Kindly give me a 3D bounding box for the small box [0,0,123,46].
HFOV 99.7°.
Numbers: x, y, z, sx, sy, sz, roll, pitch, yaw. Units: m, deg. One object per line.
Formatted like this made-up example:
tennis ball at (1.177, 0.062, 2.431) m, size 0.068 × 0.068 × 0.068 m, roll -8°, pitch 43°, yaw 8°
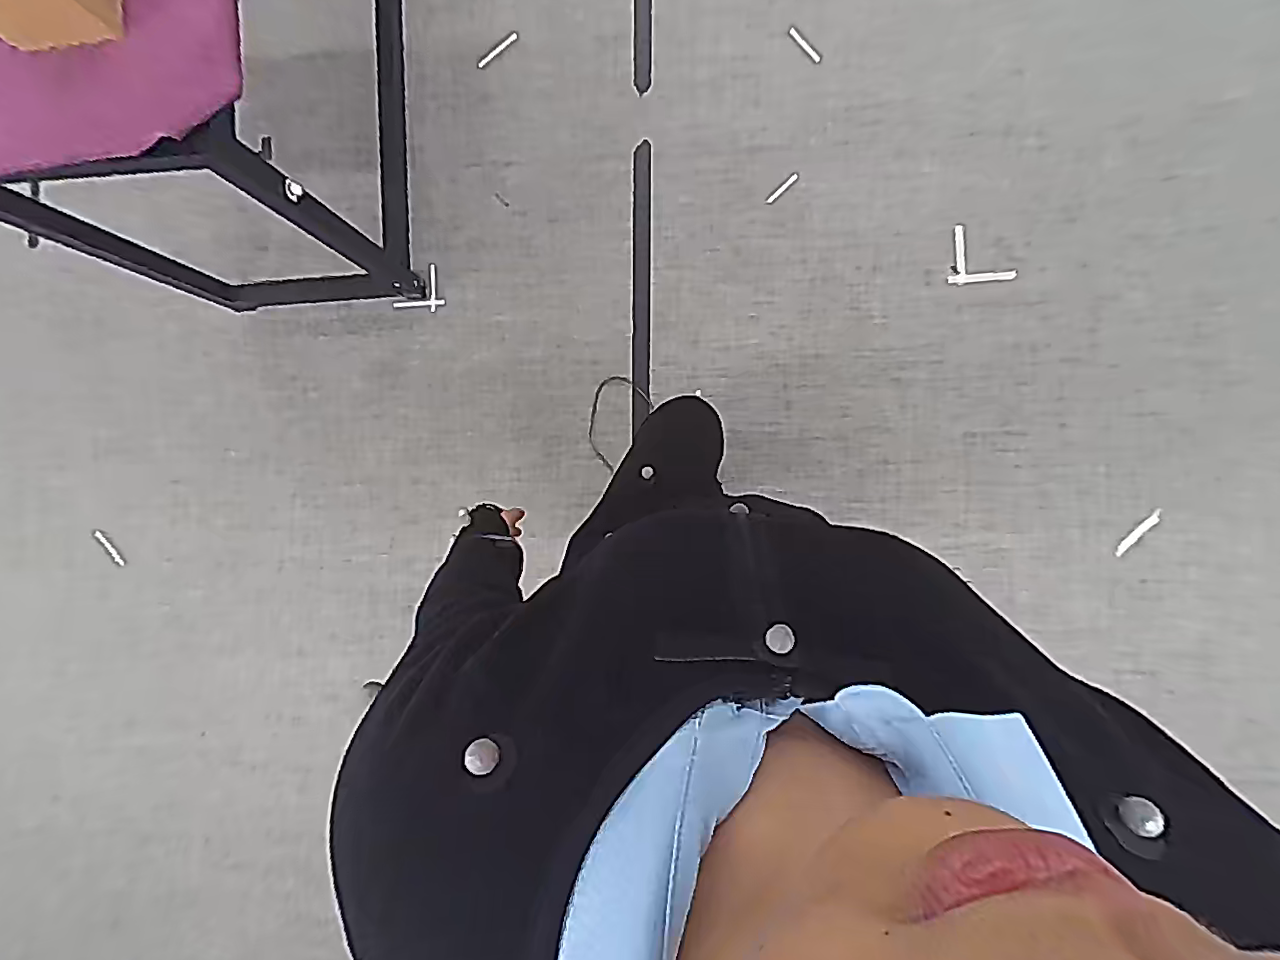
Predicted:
small box at (-0.887, -0.754, 0.757) m, size 0.179 × 0.176 × 0.168 m, roll -4°, pitch 89°, yaw 4°
